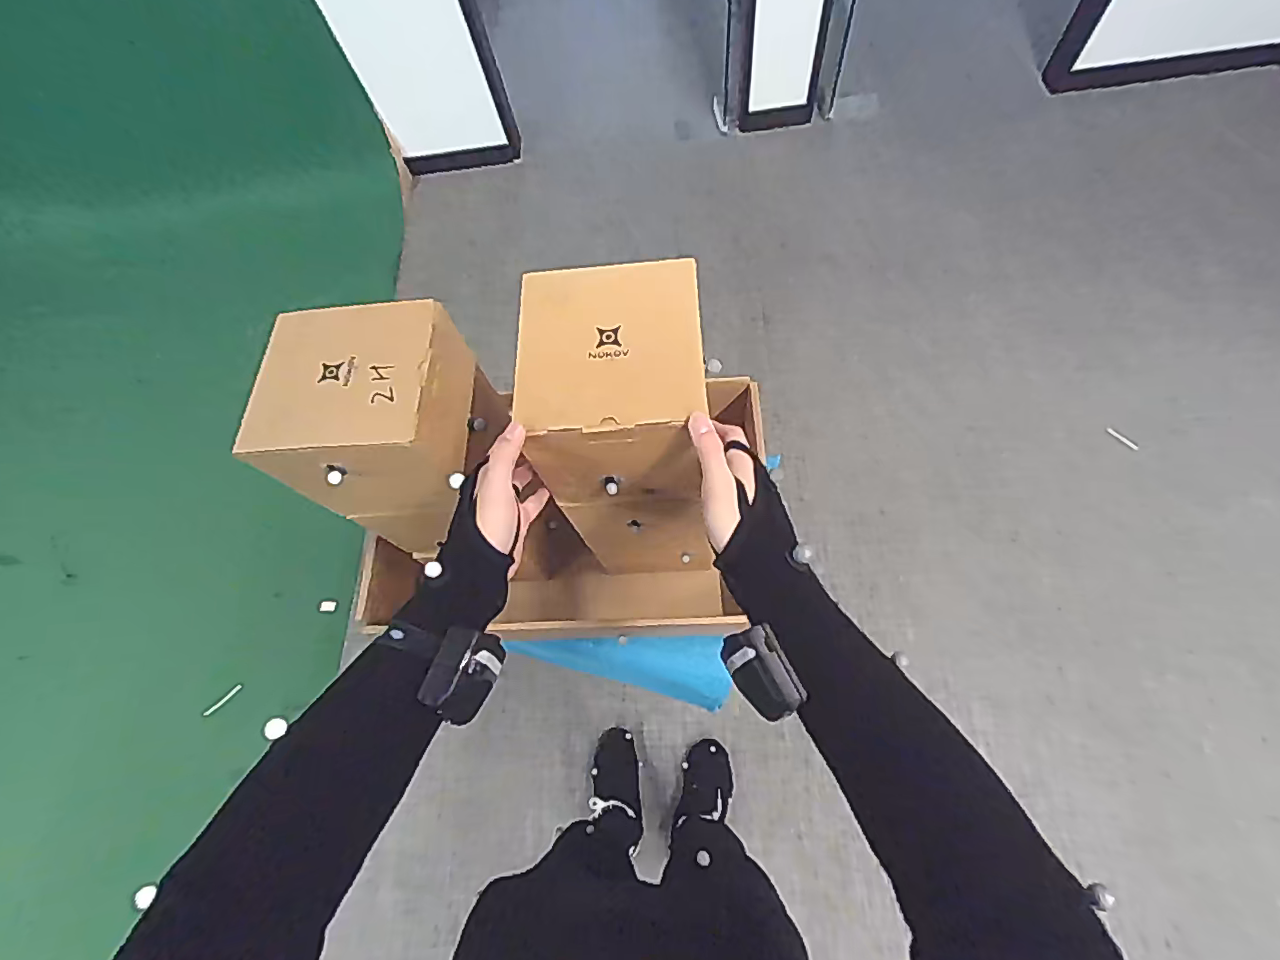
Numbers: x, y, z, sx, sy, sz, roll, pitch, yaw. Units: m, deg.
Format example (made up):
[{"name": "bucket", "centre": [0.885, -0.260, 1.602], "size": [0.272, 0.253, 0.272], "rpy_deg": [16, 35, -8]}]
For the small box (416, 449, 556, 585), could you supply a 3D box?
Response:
[{"name": "small box", "centre": [-0.239, 0.066, 0.890], "size": [0.168, 0.176, 0.179], "rpy_deg": [-3, 65, 6]}]

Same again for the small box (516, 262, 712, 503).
[{"name": "small box", "centre": [-0.017, -0.089, 0.549], "size": [0.168, 0.176, 0.179], "rpy_deg": [-3, 67, 4]}]

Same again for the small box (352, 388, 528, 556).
[{"name": "small box", "centre": [-0.258, -0.005, 0.744], "size": [0.168, 0.176, 0.179], "rpy_deg": [-3, 66, 5]}]

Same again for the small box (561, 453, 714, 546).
[{"name": "small box", "centre": [0.005, -0.016, 0.714], "size": [0.179, 0.176, 0.168], "rpy_deg": [-4, 65, 7]}]

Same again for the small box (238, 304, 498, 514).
[{"name": "small box", "centre": [-0.276, -0.067, 0.594], "size": [0.179, 0.176, 0.168], "rpy_deg": [-2, 66, 6]}]
